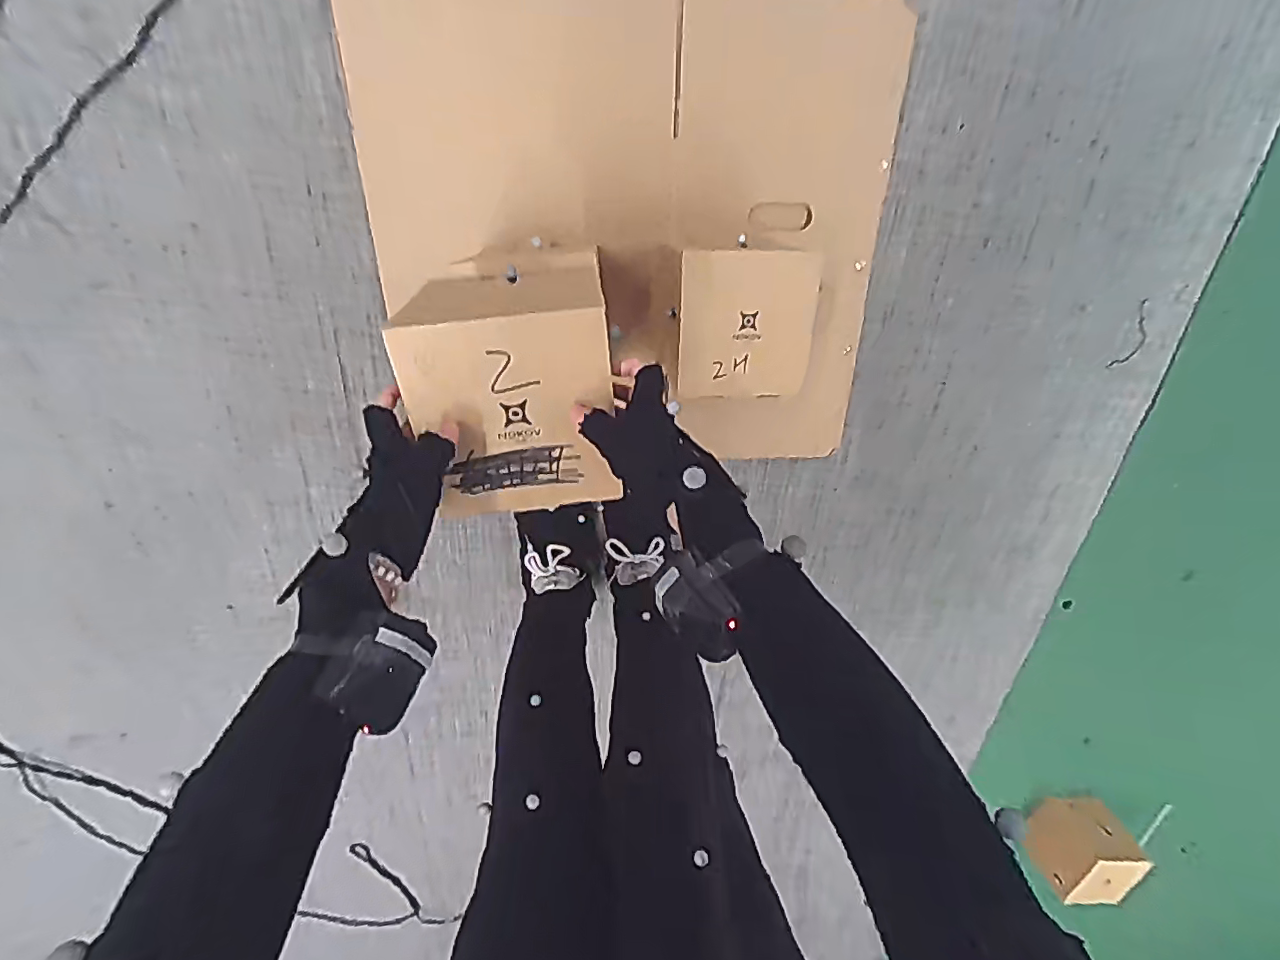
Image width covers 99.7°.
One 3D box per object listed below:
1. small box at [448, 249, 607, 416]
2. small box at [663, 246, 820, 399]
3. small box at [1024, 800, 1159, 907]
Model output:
[{"bbox_3d":[-0.130,-0.198,0.704,0.168,0.176,0.179,-6,115,-2],"label":"small box"},{"bbox_3d":[0.120,-0.215,0.722,0.168,0.176,0.179,-1,116,-3],"label":"small box"},{"bbox_3d":[1.139,0.948,1.381,0.168,0.176,0.179,7,115,-9],"label":"small box"}]
